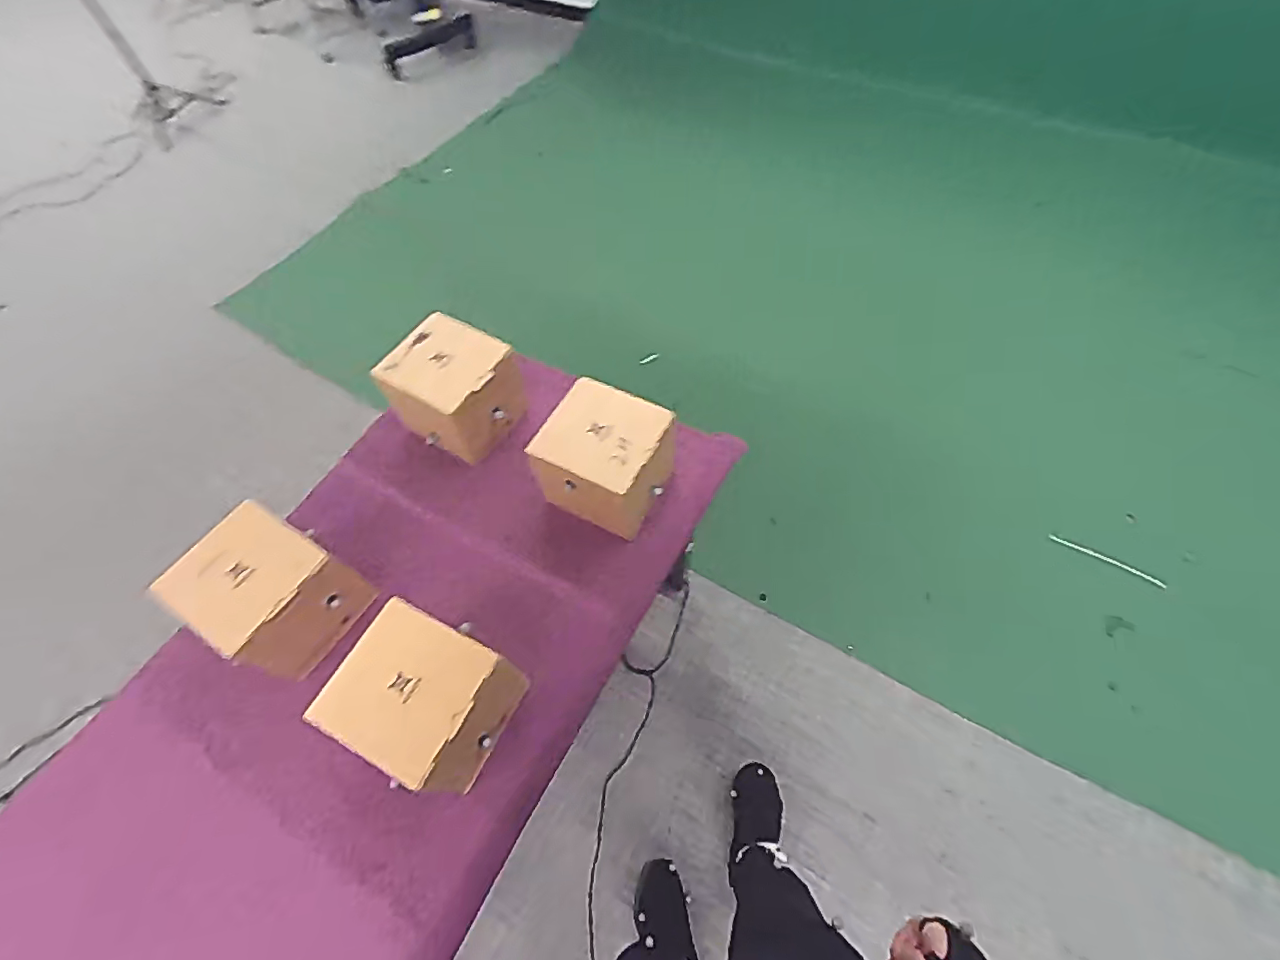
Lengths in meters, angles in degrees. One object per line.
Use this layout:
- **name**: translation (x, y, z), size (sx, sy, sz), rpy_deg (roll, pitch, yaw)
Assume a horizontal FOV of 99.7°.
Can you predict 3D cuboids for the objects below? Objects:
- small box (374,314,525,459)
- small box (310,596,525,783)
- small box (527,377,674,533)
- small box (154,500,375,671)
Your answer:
- **small box**: translation (-0.333, -0.162, 0.988), size (0.179, 0.176, 0.168), rpy_deg (28, 64, 13)
- **small box**: translation (-0.282, 0.288, 0.728), size (0.179, 0.176, 0.168), rpy_deg (23, 63, 15)
- **small box**: translation (-0.057, -0.035, 0.904), size (0.179, 0.176, 0.168), rpy_deg (25, 65, 16)
- **small box**: translation (-0.540, 0.165, 0.808), size (0.179, 0.176, 0.168), rpy_deg (28, 64, 17)
